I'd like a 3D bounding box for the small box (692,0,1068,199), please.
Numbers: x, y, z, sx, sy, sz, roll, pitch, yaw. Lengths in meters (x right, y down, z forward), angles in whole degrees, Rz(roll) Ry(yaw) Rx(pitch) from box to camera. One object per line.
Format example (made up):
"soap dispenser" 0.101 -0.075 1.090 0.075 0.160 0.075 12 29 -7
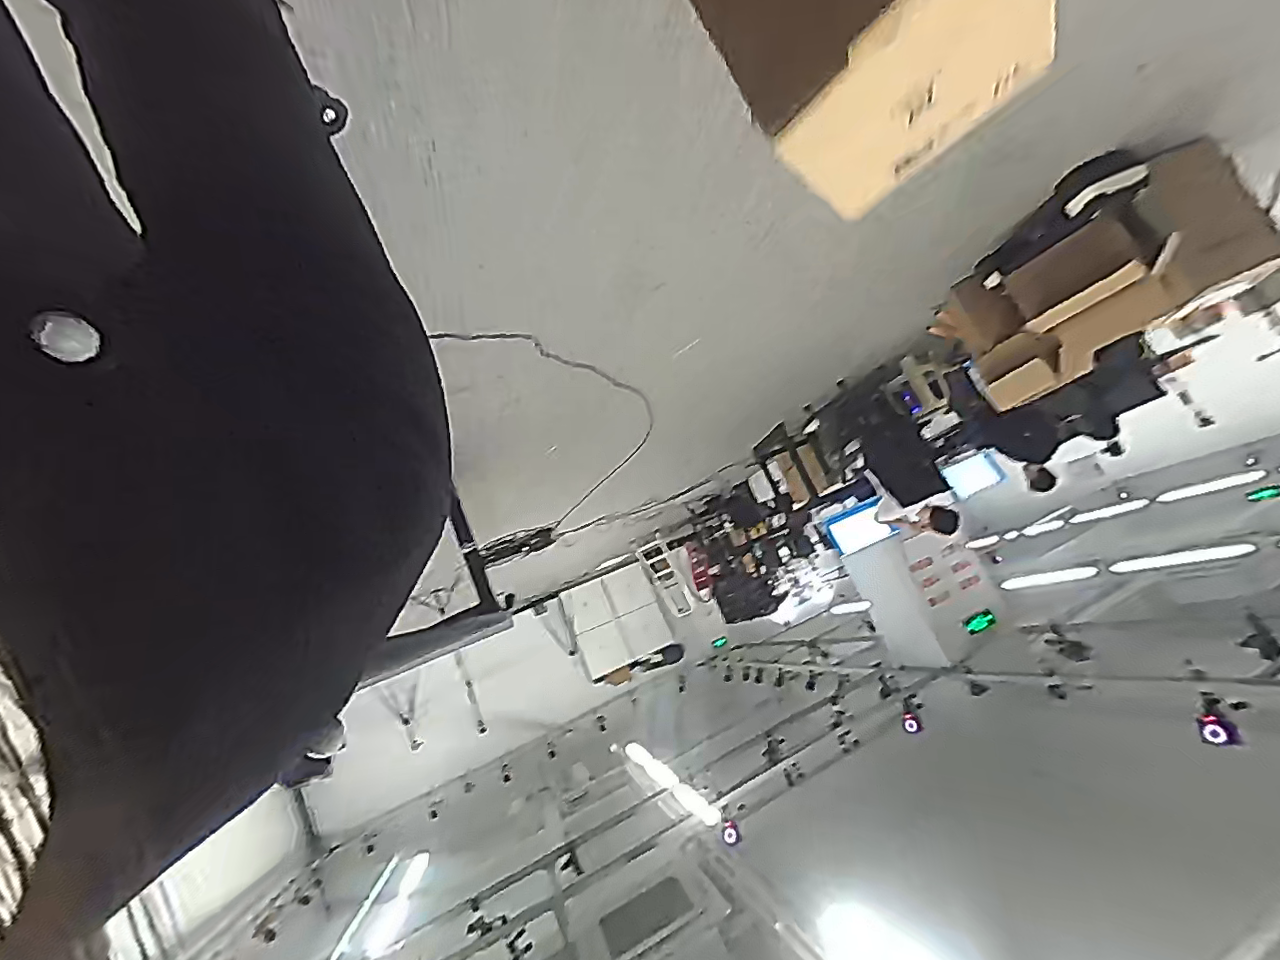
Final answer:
"small box" 0.156 -0.345 0.380 0.179 0.176 0.168 -11 160 -49
